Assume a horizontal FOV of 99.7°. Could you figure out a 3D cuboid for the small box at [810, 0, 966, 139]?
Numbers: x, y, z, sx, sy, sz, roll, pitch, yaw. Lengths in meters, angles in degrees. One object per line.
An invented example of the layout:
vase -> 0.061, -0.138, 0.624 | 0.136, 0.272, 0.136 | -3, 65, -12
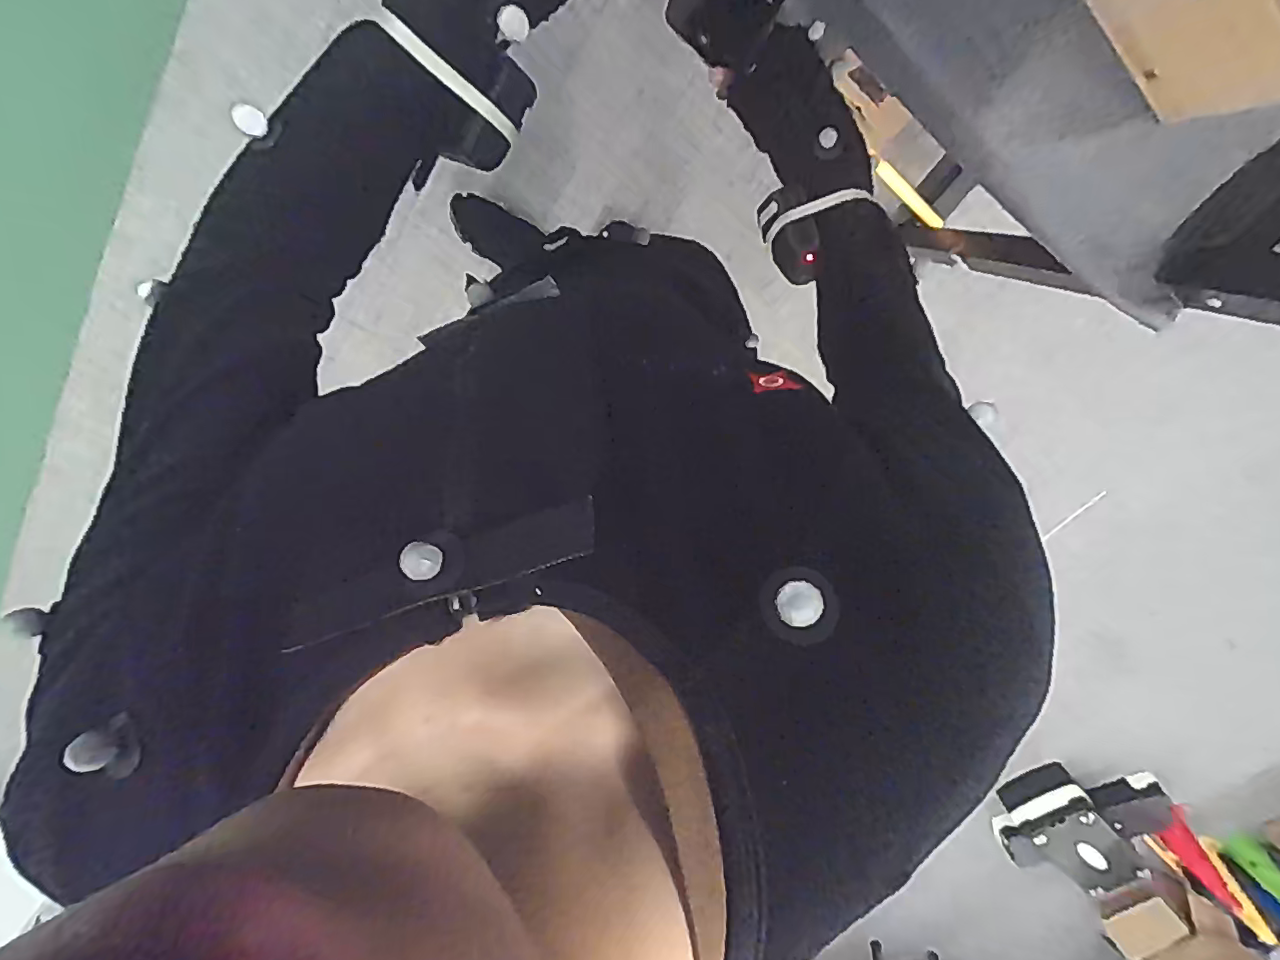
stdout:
small box -> 0.434, -0.758, 0.986 | 0.168, 0.176, 0.179 | 37, 112, -19
